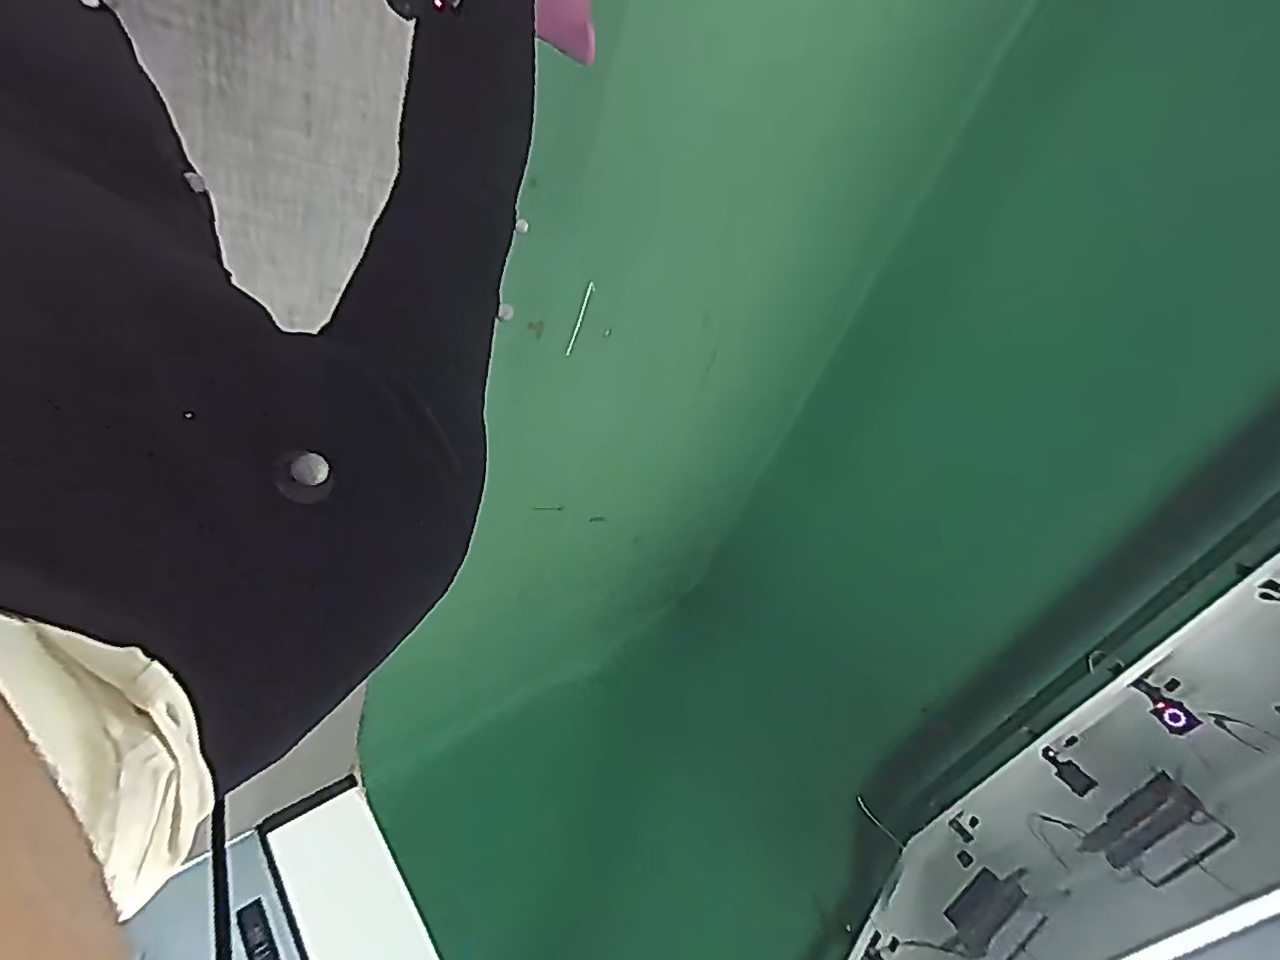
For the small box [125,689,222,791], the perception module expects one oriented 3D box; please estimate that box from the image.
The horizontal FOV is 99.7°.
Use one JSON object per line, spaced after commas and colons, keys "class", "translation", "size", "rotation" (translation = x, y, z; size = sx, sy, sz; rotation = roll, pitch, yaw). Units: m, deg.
{"class": "small box", "translation": [-1.336, 0.734, 1.548], "size": [0.179, 0.176, 0.168], "rotation": [-8, 133, -51]}
